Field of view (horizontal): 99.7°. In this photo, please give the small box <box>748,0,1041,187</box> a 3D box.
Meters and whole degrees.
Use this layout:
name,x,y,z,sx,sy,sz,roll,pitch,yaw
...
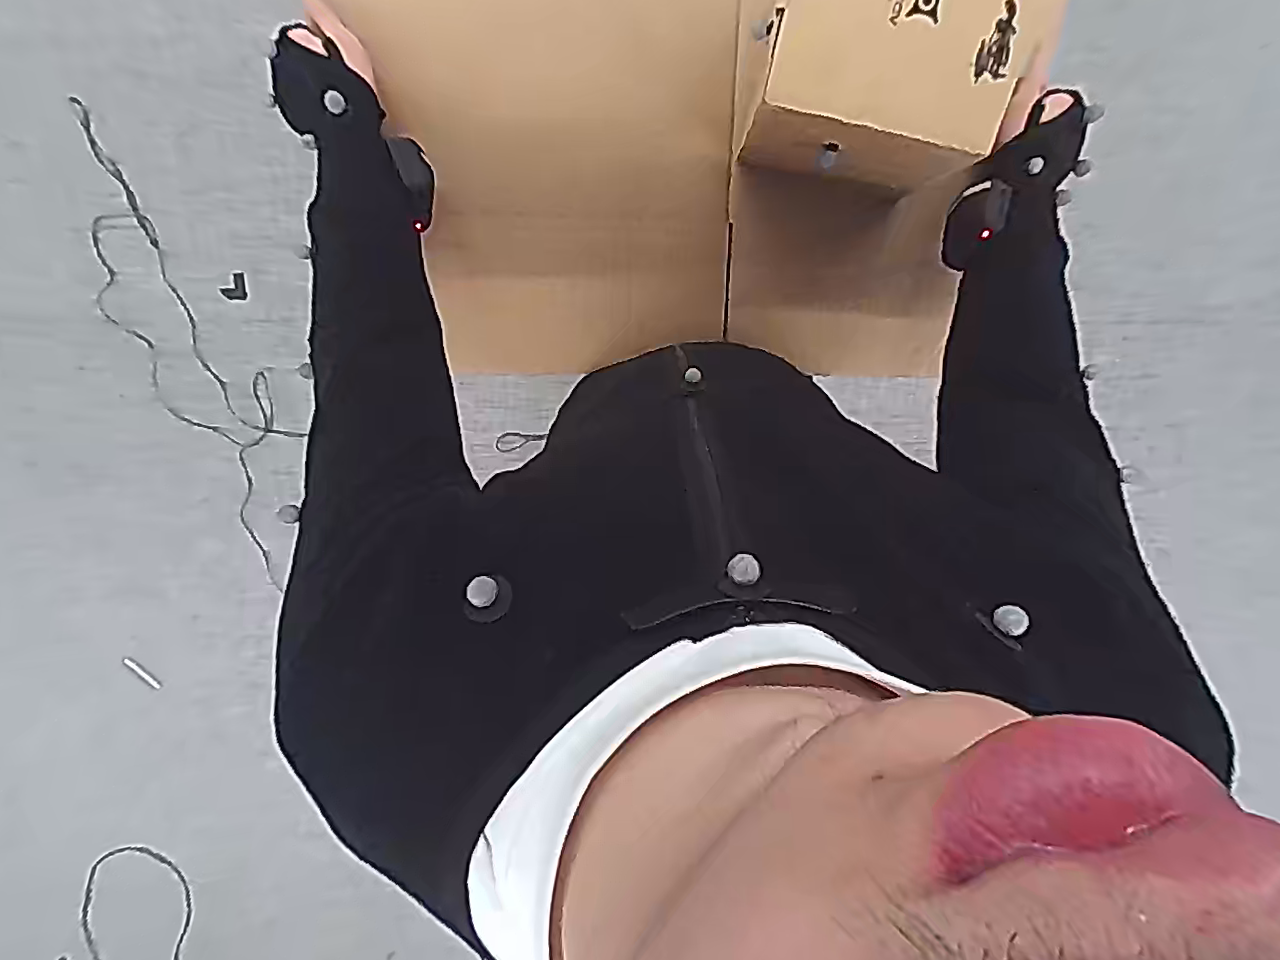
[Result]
name,x,y,z,sx,sy,sz,roll,pitch,yaw
small box,0.199,-0.366,0.456,0.179,0.176,0.168,13,108,1
